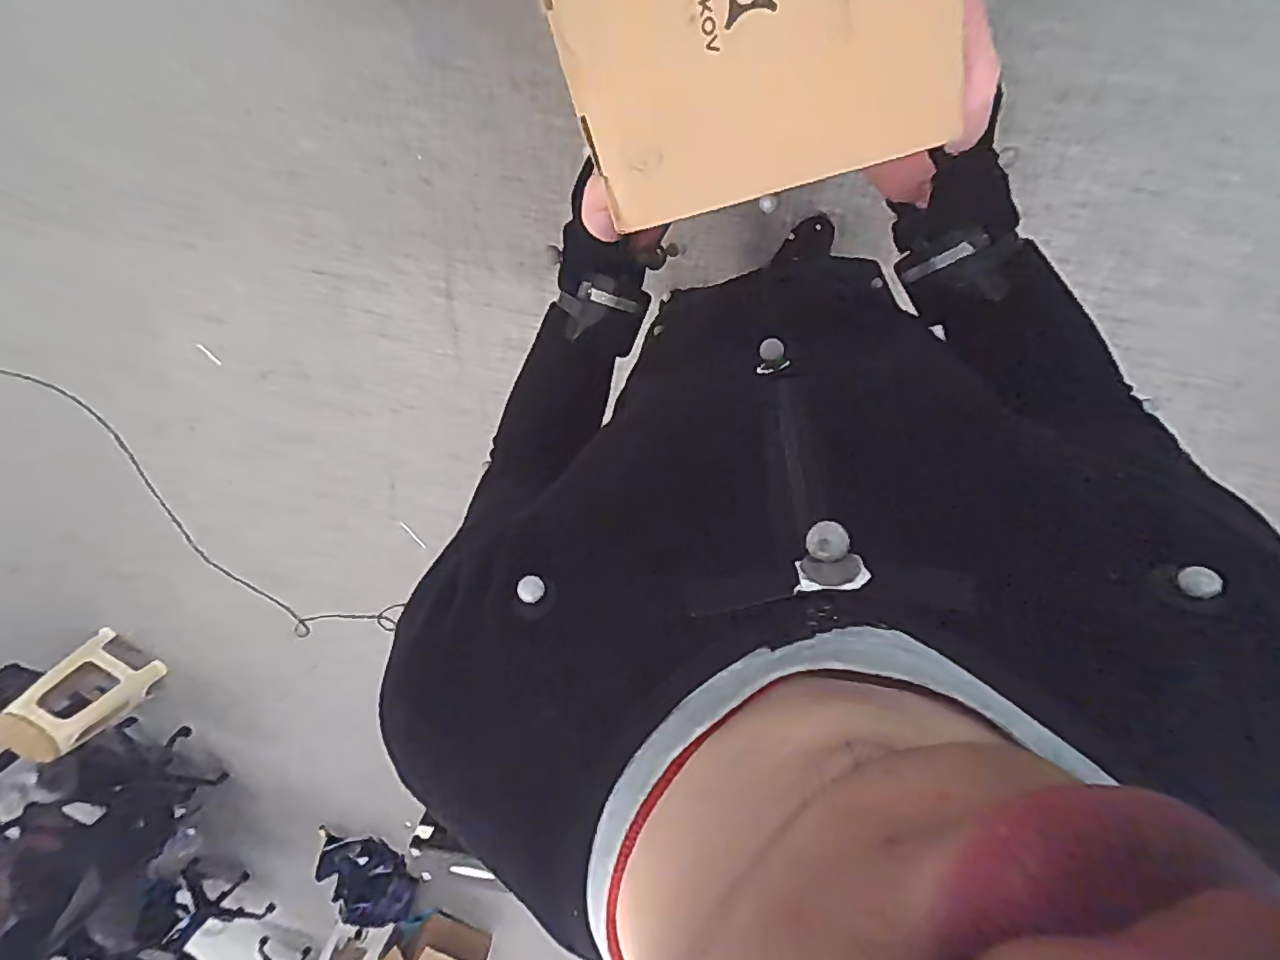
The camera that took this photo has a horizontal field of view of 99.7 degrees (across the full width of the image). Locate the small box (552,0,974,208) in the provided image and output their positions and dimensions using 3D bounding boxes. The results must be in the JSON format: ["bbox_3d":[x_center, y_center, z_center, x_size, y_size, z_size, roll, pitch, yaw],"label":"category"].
[{"bbox_3d":[0.062,-0.268,0.286,0.179,0.176,0.168,-6,125,22],"label":"small box"}]
